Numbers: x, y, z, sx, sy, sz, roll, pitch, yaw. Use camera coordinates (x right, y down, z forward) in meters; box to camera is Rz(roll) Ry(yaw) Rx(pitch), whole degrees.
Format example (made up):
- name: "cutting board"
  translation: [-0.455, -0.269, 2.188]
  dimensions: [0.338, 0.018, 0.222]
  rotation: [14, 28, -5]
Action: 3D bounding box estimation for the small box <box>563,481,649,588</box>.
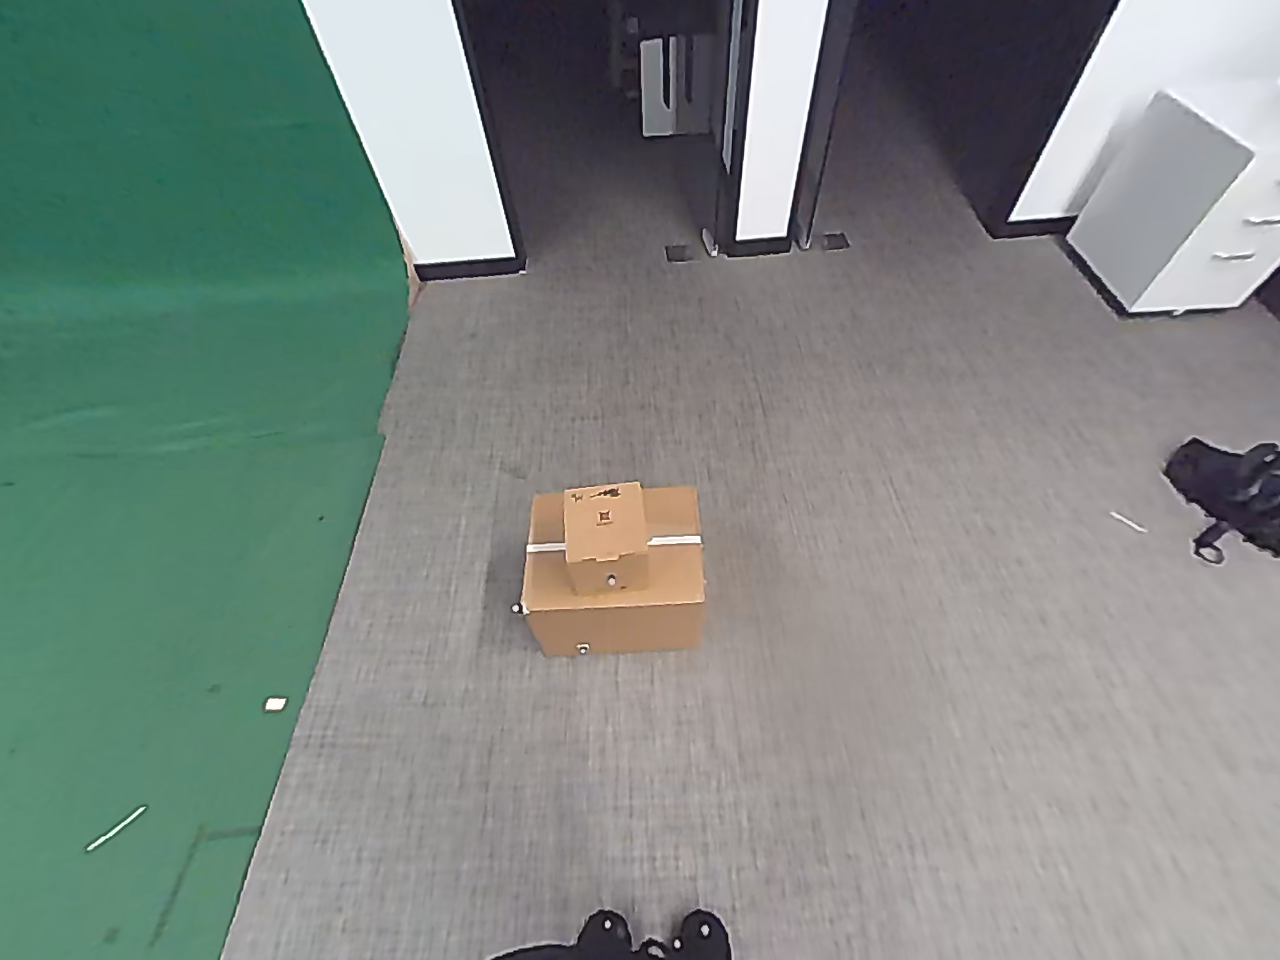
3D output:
- name: "small box"
  translation: [-0.072, 0.125, 1.172]
  dimensions: [0.168, 0.176, 0.179]
  rotation: [-6, 55, -1]
